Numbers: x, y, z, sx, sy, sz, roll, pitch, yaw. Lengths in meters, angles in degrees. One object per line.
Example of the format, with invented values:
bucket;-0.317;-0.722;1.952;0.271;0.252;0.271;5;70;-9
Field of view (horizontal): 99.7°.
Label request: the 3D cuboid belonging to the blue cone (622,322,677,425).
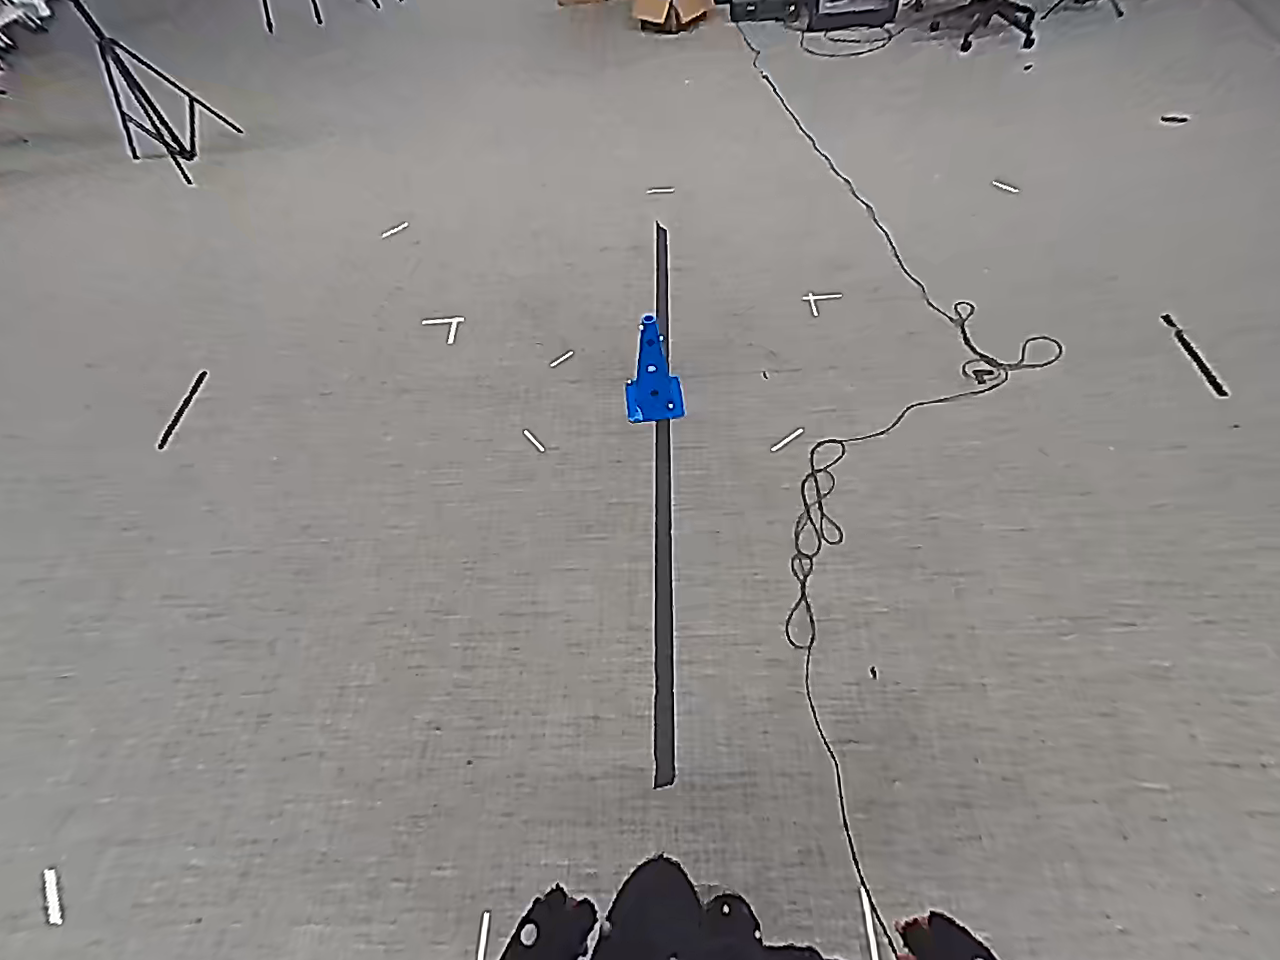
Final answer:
blue cone;0.020;-0.369;1.802;0.192;0.380;0.193;-5;55;2
